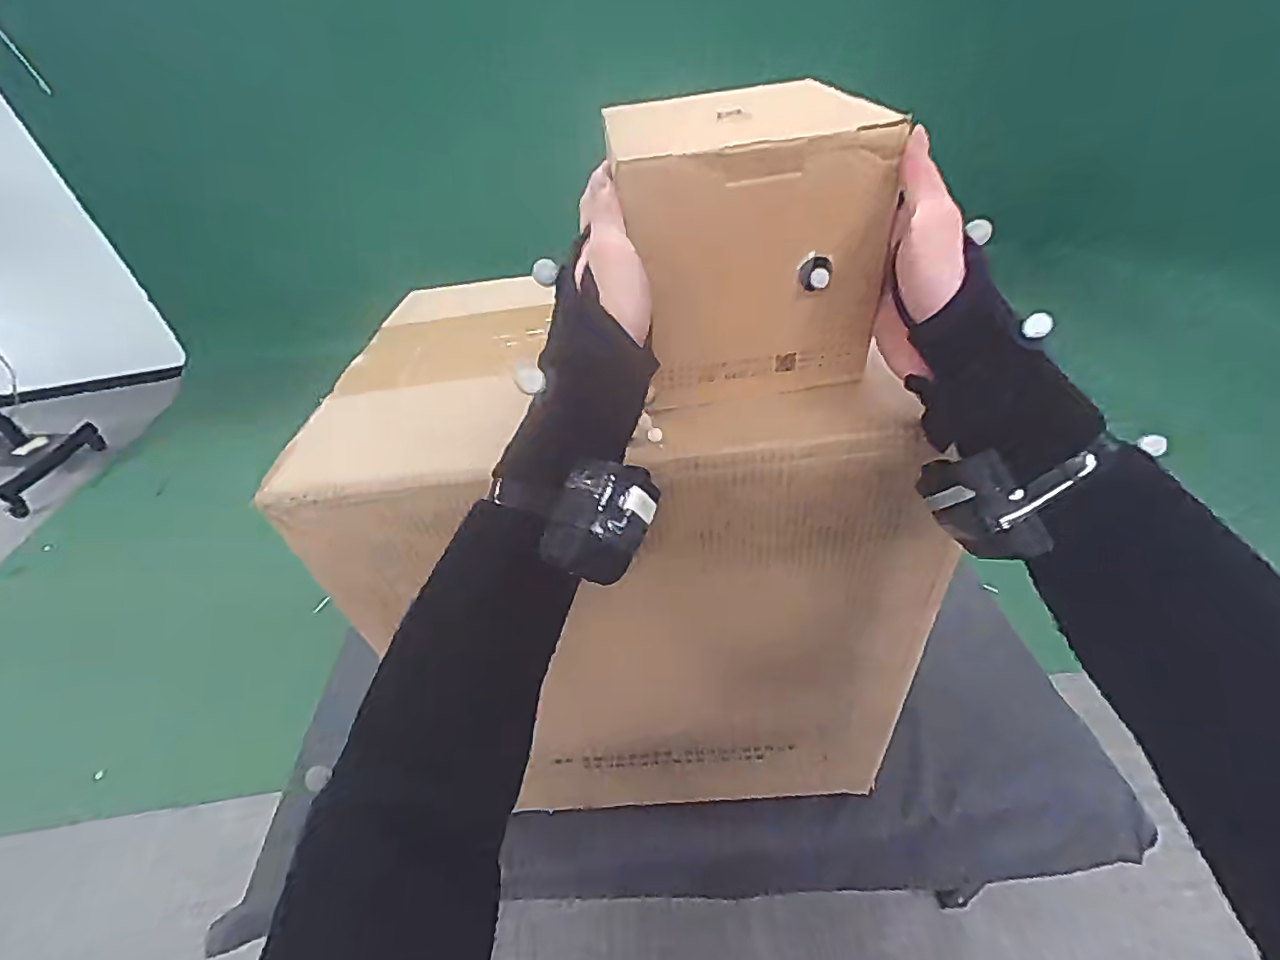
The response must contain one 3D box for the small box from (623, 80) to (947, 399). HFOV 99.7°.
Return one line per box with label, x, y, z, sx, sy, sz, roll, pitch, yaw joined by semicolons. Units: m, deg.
small box;0.083;-0.171;0.398;0.168;0.176;0.179;-8;42;-1
